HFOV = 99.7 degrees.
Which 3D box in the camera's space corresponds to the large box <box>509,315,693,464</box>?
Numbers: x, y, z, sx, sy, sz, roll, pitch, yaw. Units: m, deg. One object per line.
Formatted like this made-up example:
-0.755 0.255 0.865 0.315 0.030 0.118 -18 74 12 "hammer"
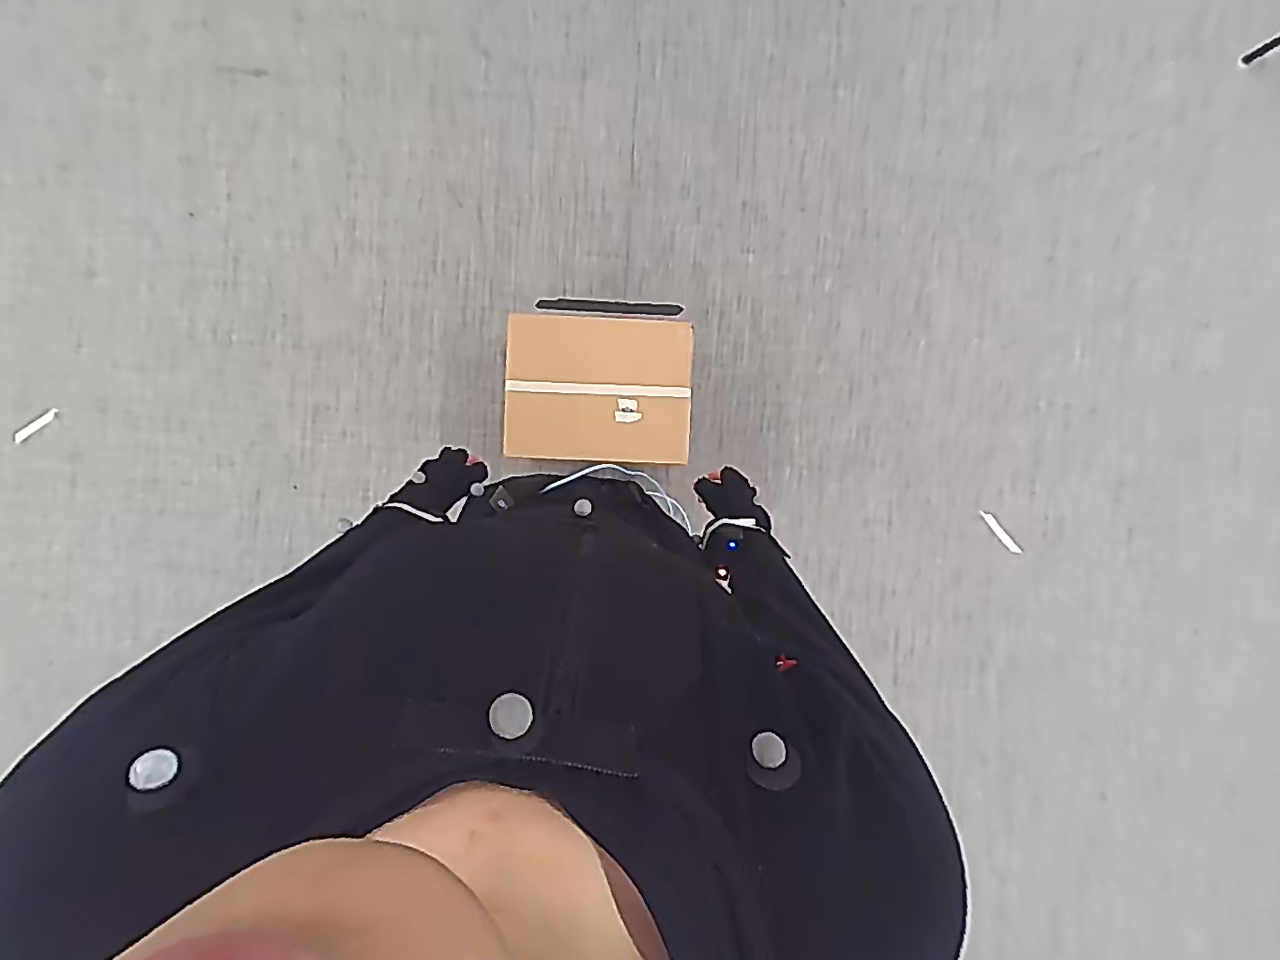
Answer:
-0.092 -0.202 1.337 0.408 0.320 0.320 3 91 -2 "large box"
